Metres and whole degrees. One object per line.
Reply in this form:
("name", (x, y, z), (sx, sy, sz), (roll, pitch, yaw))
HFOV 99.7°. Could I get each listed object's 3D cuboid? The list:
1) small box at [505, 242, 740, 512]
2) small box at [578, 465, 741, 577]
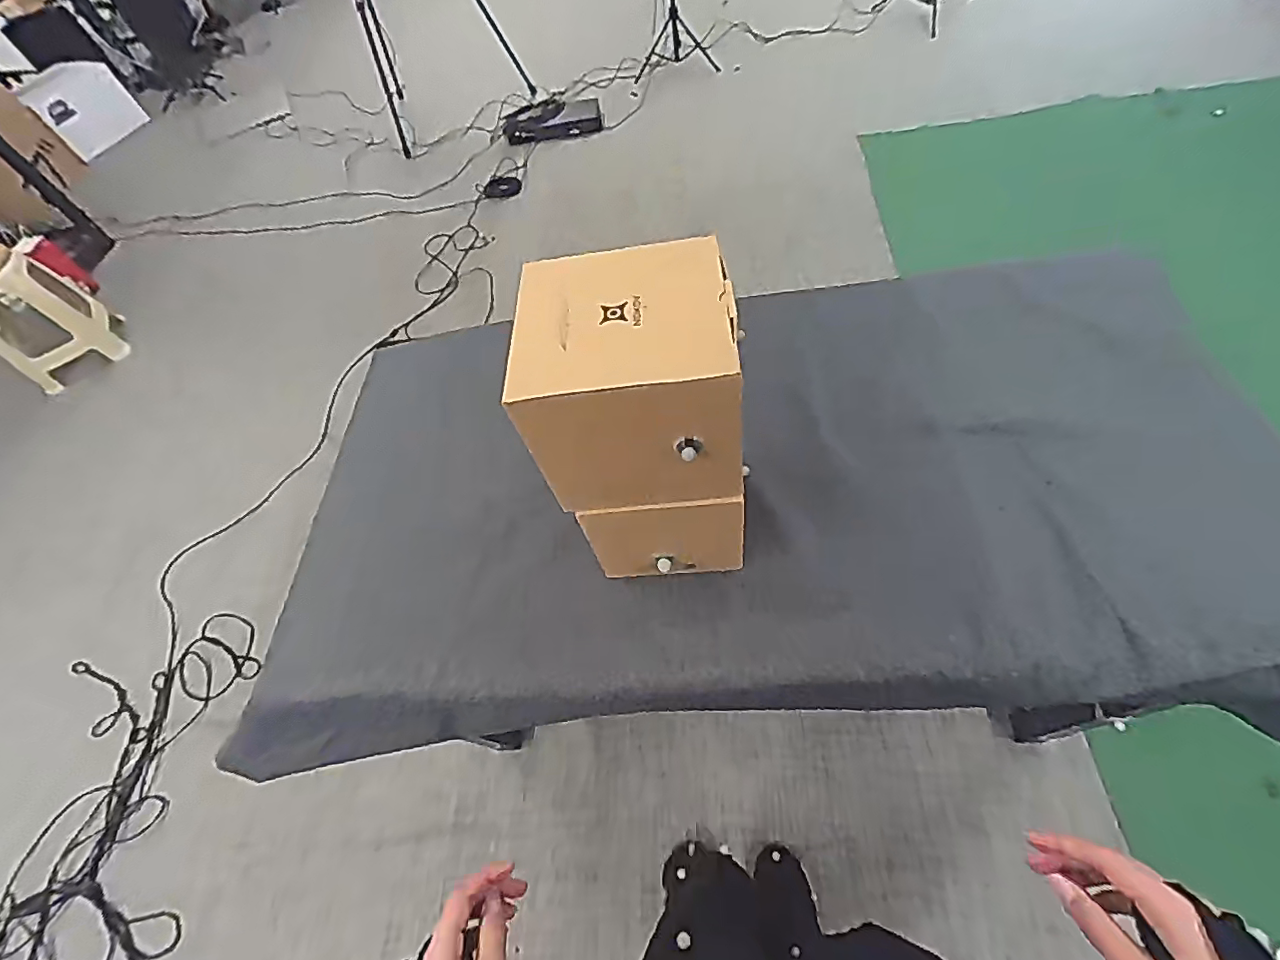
("small box", (-0.004, -0.085, 0.500), (0.179, 0.176, 0.168), (-7, 56, 8))
("small box", (0.028, -0.001, 0.635), (0.168, 0.176, 0.179), (-5, 58, 8))
